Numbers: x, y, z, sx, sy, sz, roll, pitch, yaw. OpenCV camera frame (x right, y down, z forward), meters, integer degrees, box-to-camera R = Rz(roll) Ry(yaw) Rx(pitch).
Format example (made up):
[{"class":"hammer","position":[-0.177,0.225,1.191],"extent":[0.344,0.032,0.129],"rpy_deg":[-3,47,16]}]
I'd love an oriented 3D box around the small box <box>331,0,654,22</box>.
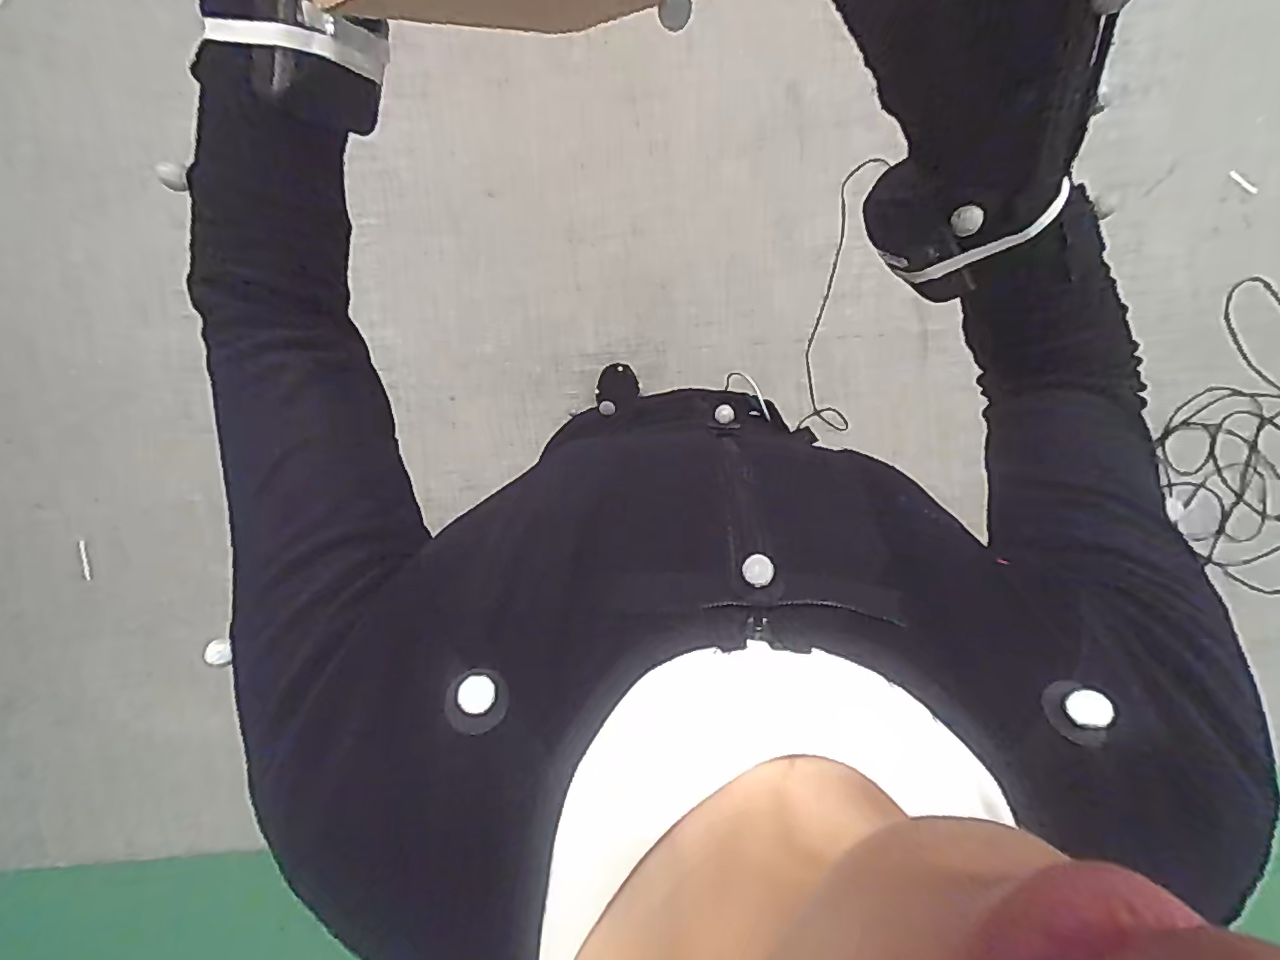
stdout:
[{"class":"small box","position":[-0.021,-0.282,0.182],"extent":[0.179,0.176,0.168],"rpy_deg":[9,126,28]}]
